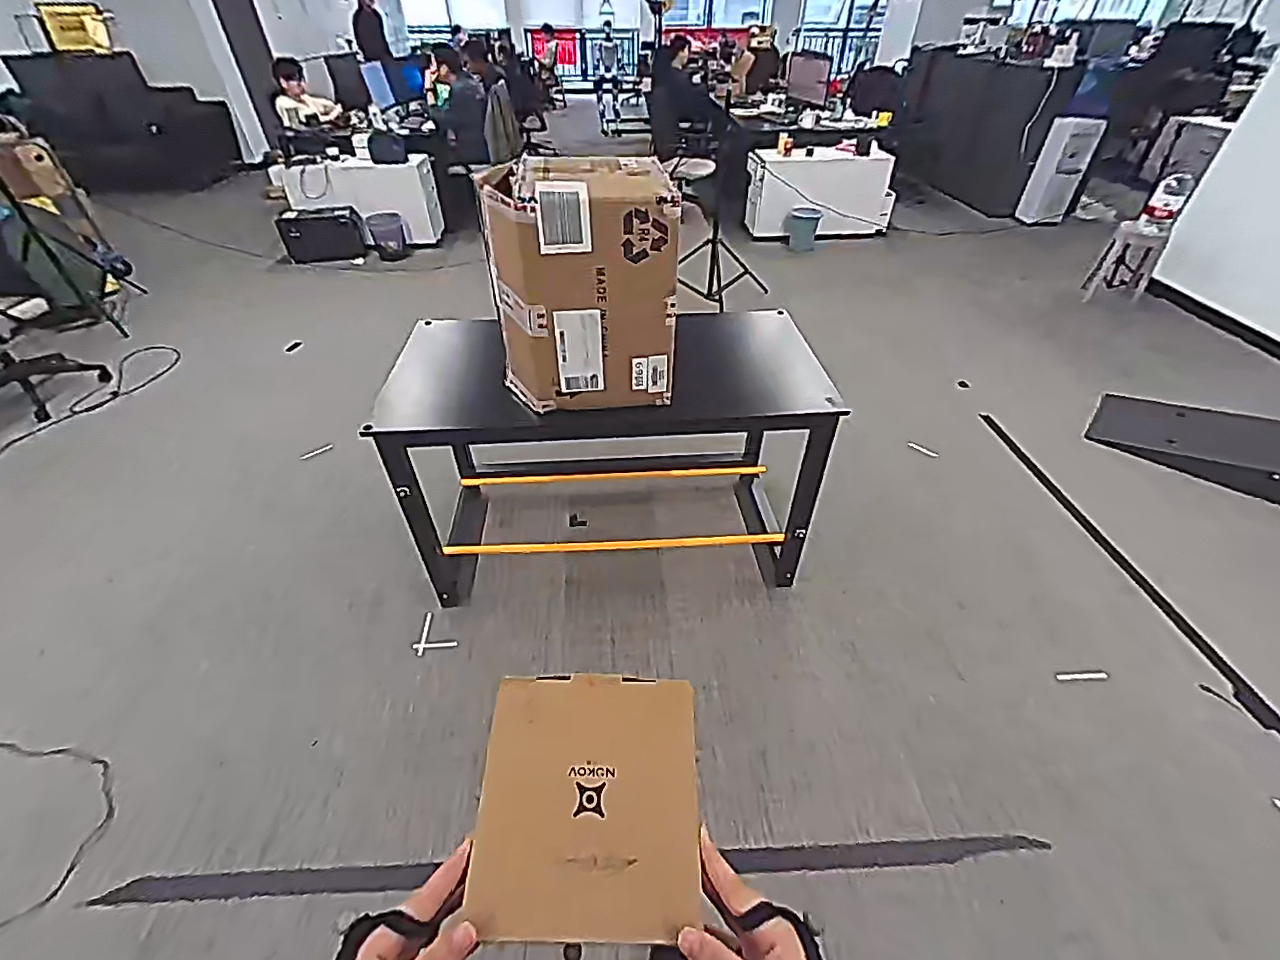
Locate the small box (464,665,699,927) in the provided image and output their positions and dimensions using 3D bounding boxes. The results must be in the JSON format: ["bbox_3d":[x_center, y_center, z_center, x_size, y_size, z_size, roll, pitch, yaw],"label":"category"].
[{"bbox_3d":[-0.042,0.283,0.484,0.168,0.176,0.179,2,52,-1],"label":"small box"}]
